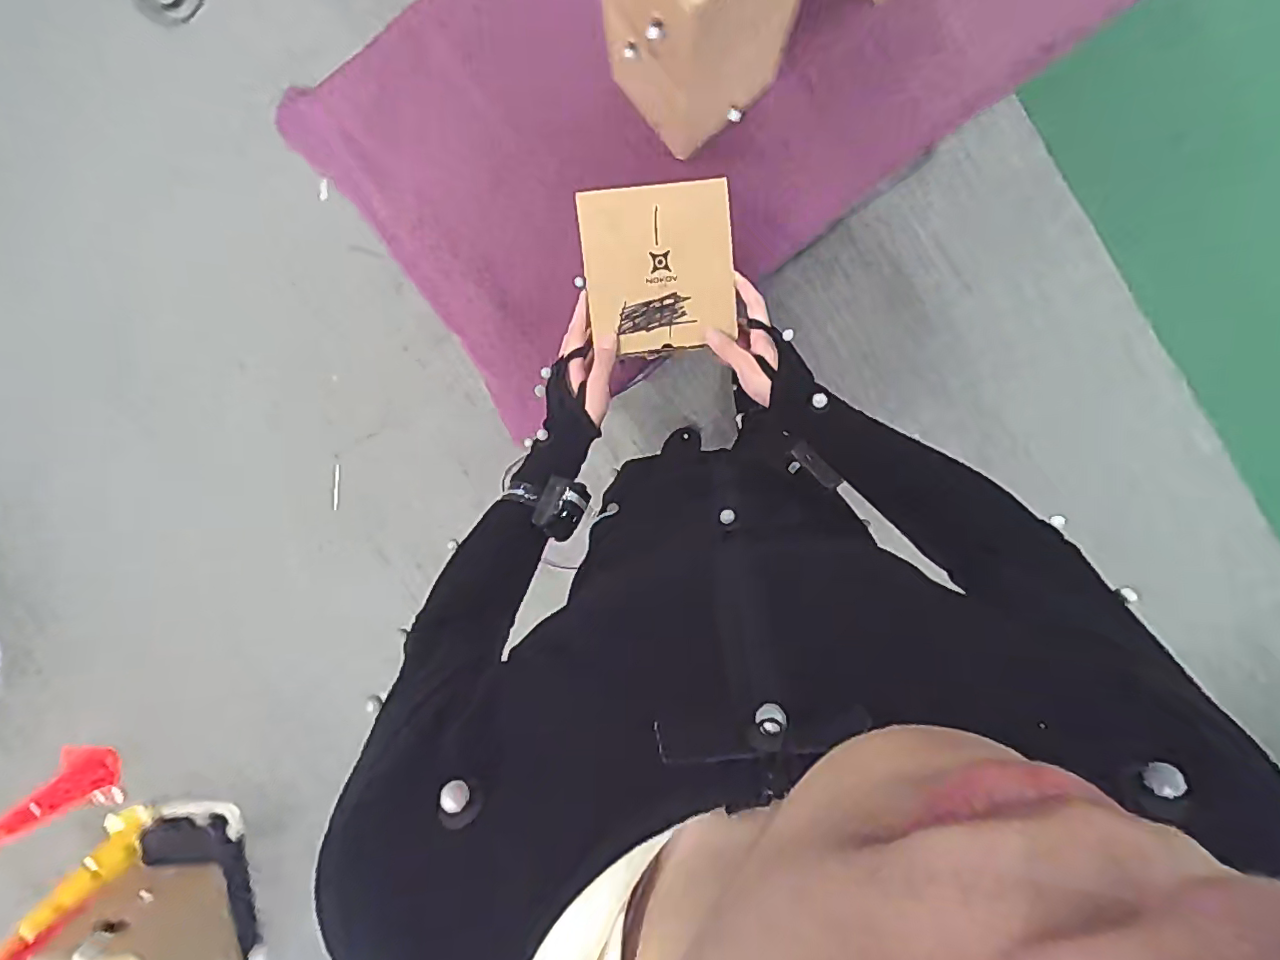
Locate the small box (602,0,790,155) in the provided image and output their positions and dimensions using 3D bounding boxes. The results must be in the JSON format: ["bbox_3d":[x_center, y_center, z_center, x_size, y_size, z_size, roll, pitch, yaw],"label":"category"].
[{"bbox_3d":[0.066,-0.590,0.723,0.179,0.176,0.168,-40,94,7],"label":"small box"}]

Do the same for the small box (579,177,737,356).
[{"bbox_3d":[0.019,-0.247,0.668,0.168,0.176,0.179,-6,101,-2],"label":"small box"}]
